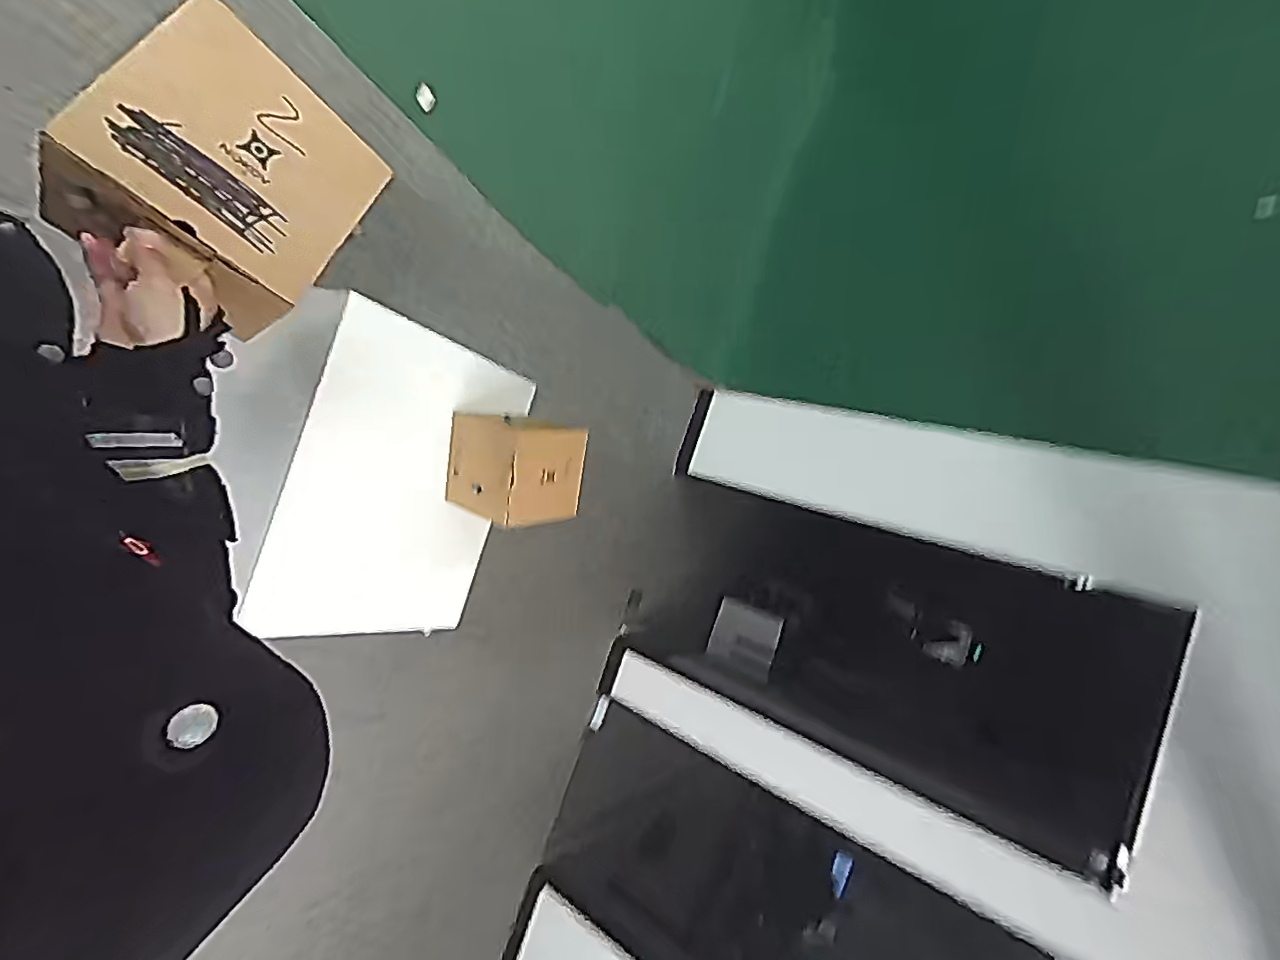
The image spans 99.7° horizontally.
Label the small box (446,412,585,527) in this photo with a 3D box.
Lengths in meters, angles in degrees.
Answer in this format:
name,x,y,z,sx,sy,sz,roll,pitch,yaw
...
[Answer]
name,x,y,z,sx,sy,sz,roll,pitch,yaw
small box,-0.229,-0.027,0.985,0.179,0.176,0.168,-9,113,-56
